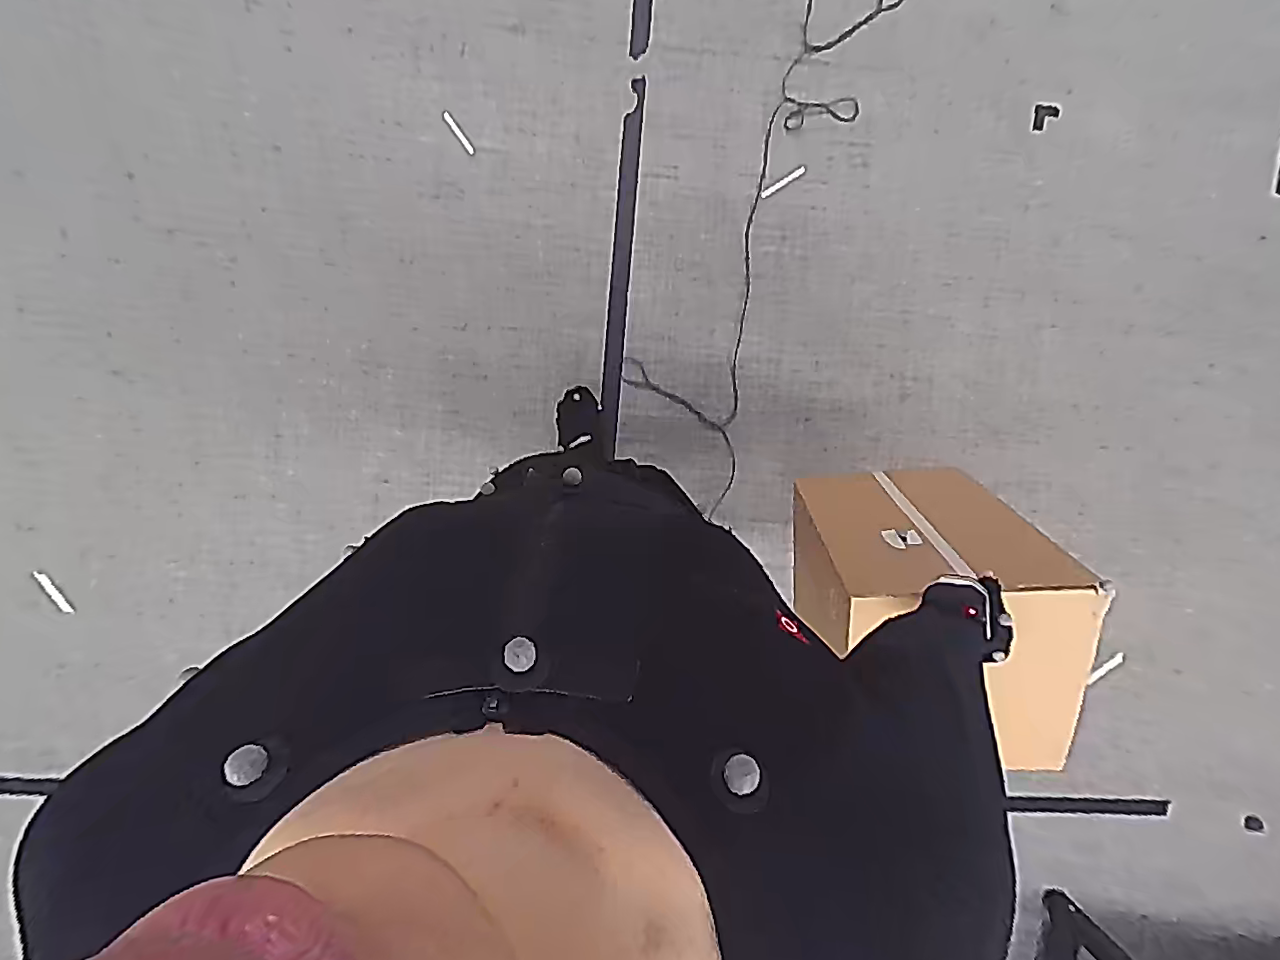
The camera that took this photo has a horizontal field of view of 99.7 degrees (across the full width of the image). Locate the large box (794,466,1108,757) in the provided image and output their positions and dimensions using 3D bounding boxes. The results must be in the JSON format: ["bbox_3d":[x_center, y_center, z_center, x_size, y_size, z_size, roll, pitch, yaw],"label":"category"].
[{"bbox_3d":[0.462,0.198,0.931,0.320,0.408,0.320,-4,114,6],"label":"large box"}]
